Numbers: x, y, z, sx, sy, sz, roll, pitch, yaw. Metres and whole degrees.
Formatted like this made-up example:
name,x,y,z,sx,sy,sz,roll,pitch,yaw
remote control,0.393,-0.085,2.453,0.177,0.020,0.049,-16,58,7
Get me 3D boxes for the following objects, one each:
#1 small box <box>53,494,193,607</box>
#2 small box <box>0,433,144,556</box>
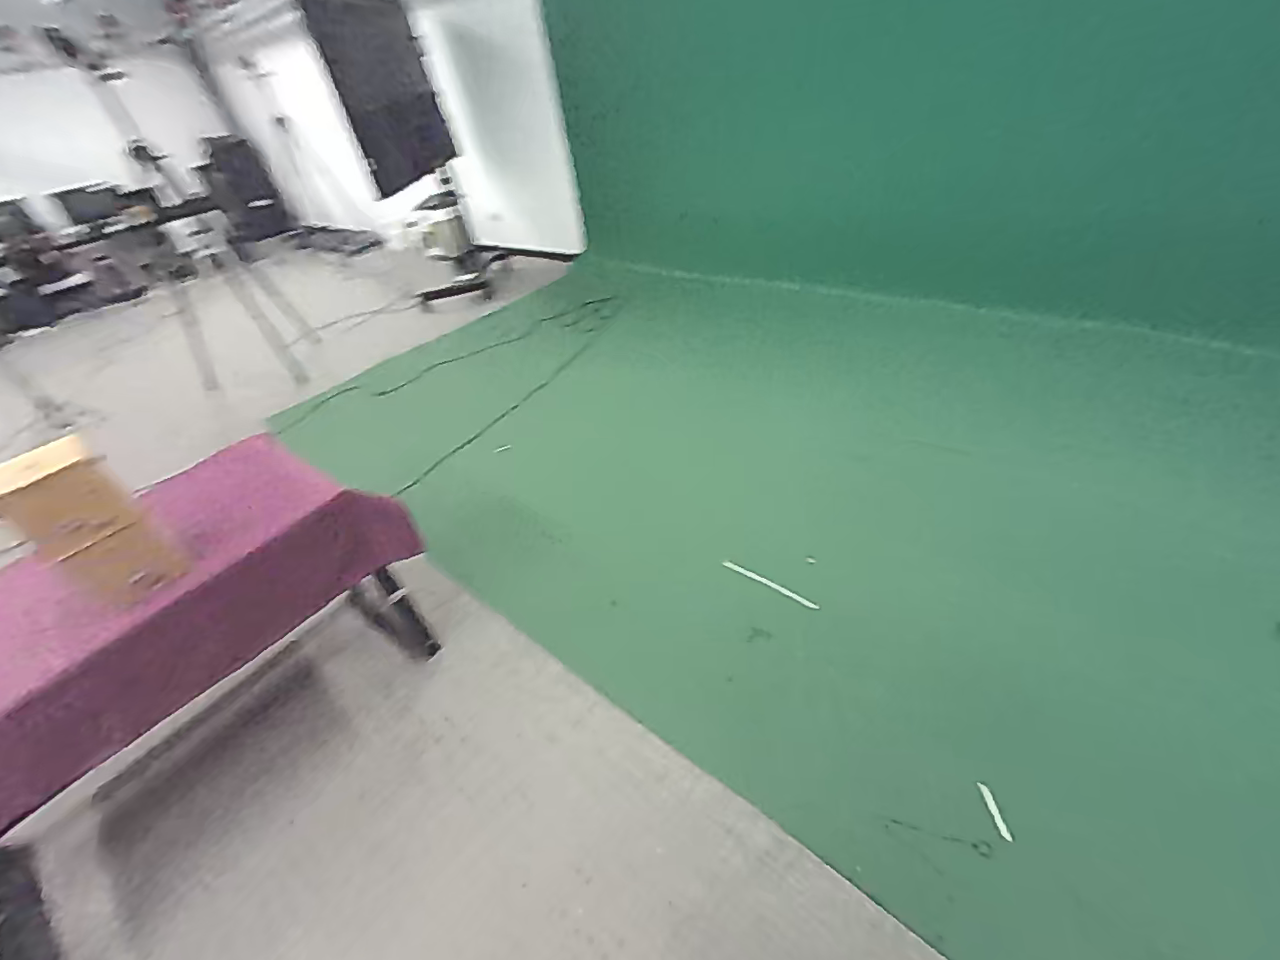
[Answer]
name,x,y,z,sx,sy,sz,roll,pitch,yaw
small box,-1.179,0.158,1.233,0.179,0.176,0.168,23,50,35
small box,-1.202,0.031,1.134,0.179,0.176,0.168,24,50,35
